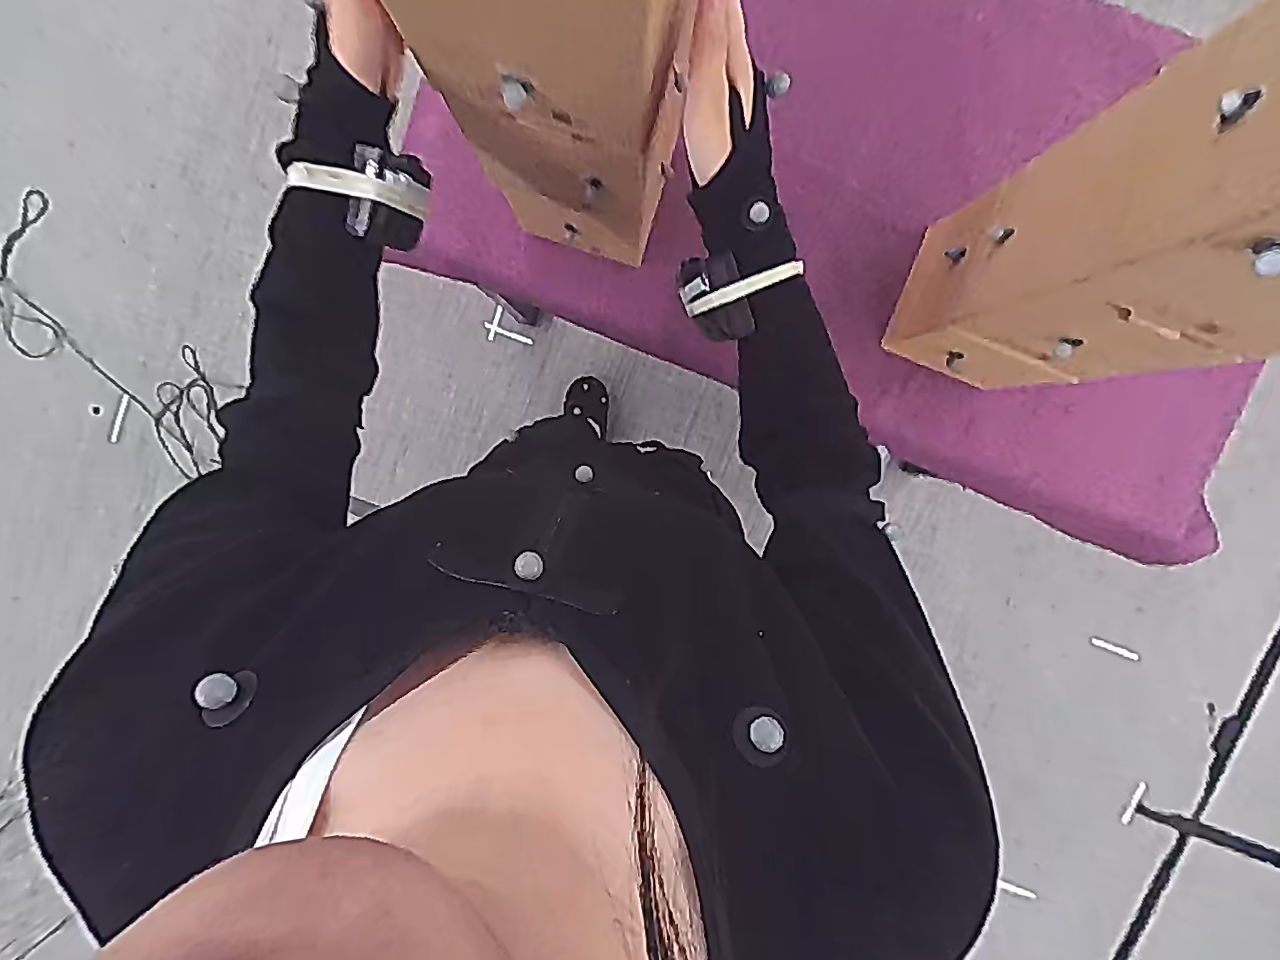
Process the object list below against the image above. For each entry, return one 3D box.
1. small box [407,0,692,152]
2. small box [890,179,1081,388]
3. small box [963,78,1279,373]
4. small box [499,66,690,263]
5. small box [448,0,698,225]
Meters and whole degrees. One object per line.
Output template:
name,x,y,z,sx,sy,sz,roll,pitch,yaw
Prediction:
small box,-0.047,-0.343,0.322,0.168,0.176,0.179,16,96,-3
small box,0.444,-0.225,0.674,0.168,0.176,0.179,21,95,-3
small box,0.448,-0.212,0.510,0.168,0.176,0.179,22,95,-3
small box,-0.050,-0.385,0.646,0.168,0.176,0.179,17,95,-3
small box,-0.048,-0.360,0.486,0.168,0.176,0.179,15,95,-3
